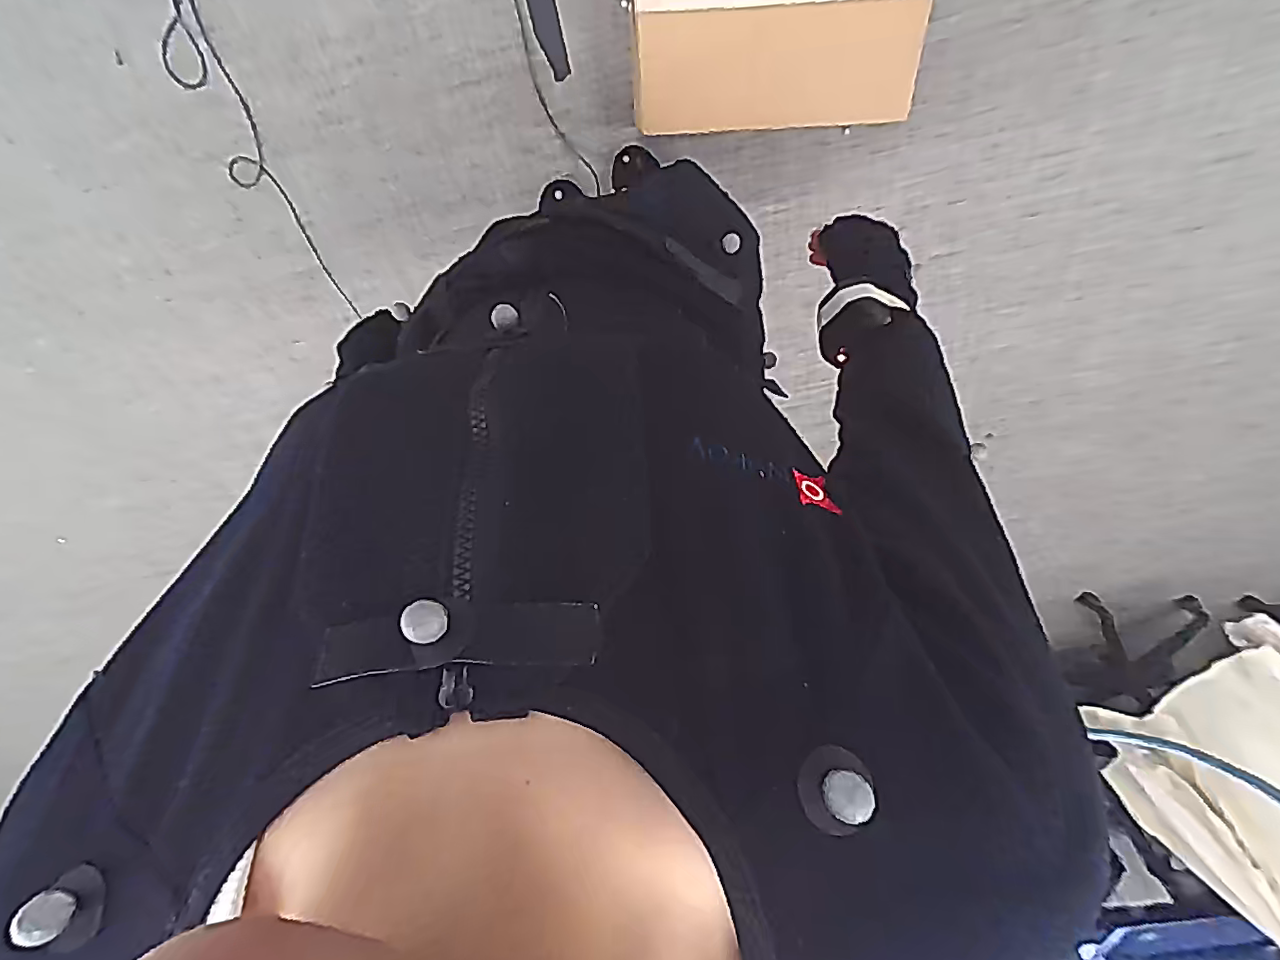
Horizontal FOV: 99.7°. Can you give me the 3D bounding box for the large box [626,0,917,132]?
[{"bbox_3d":[0.182,-0.755,0.856,0.408,0.320,0.320,-3,125,-1],"label":"large box"}]
